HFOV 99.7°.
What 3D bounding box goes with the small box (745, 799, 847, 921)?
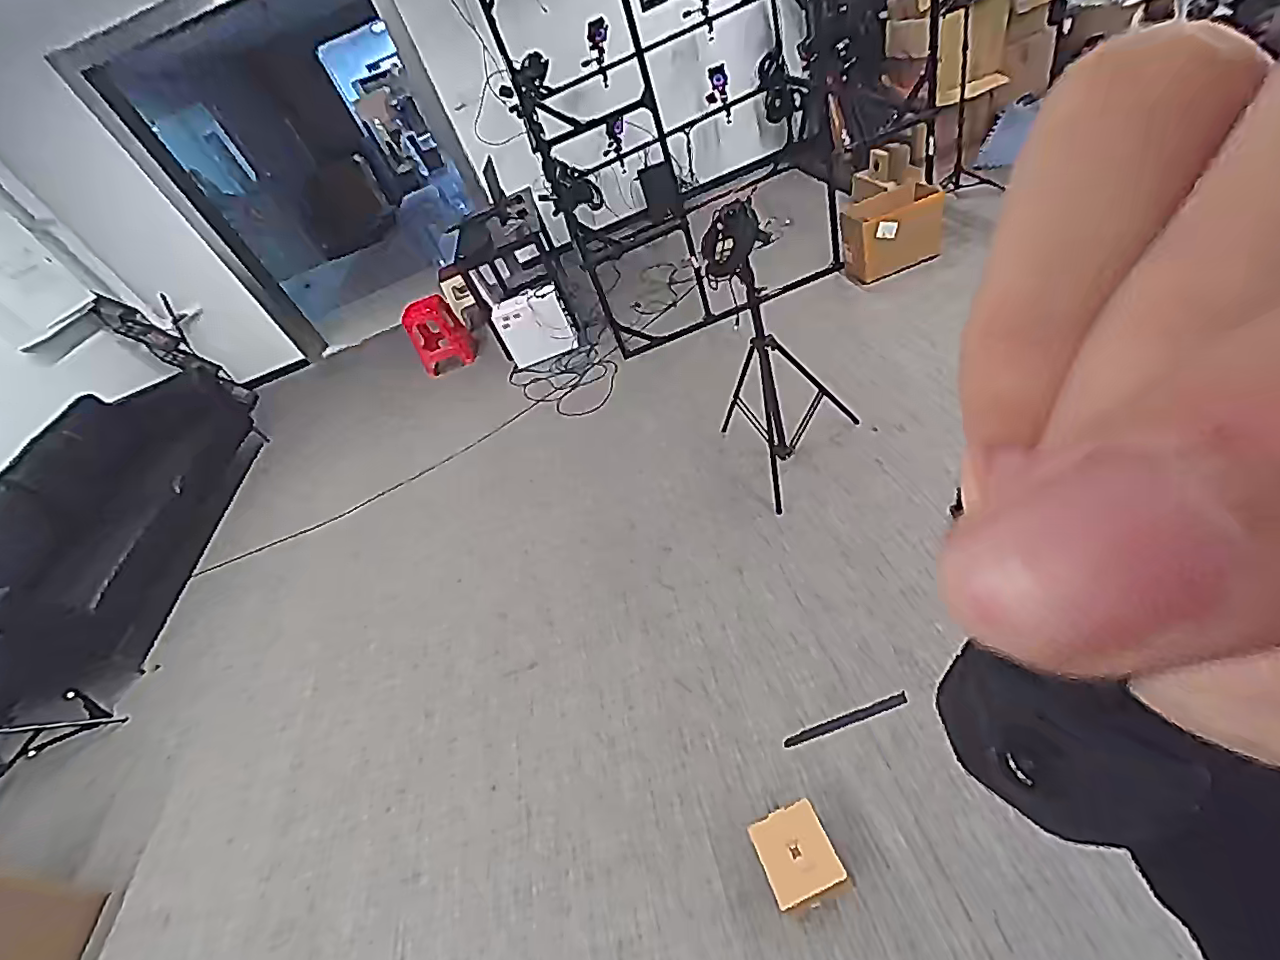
[{"bbox_3d":[0.375,0.913,1.298,0.168,0.176,0.179,-26,41,-1],"label":"small box"}]
